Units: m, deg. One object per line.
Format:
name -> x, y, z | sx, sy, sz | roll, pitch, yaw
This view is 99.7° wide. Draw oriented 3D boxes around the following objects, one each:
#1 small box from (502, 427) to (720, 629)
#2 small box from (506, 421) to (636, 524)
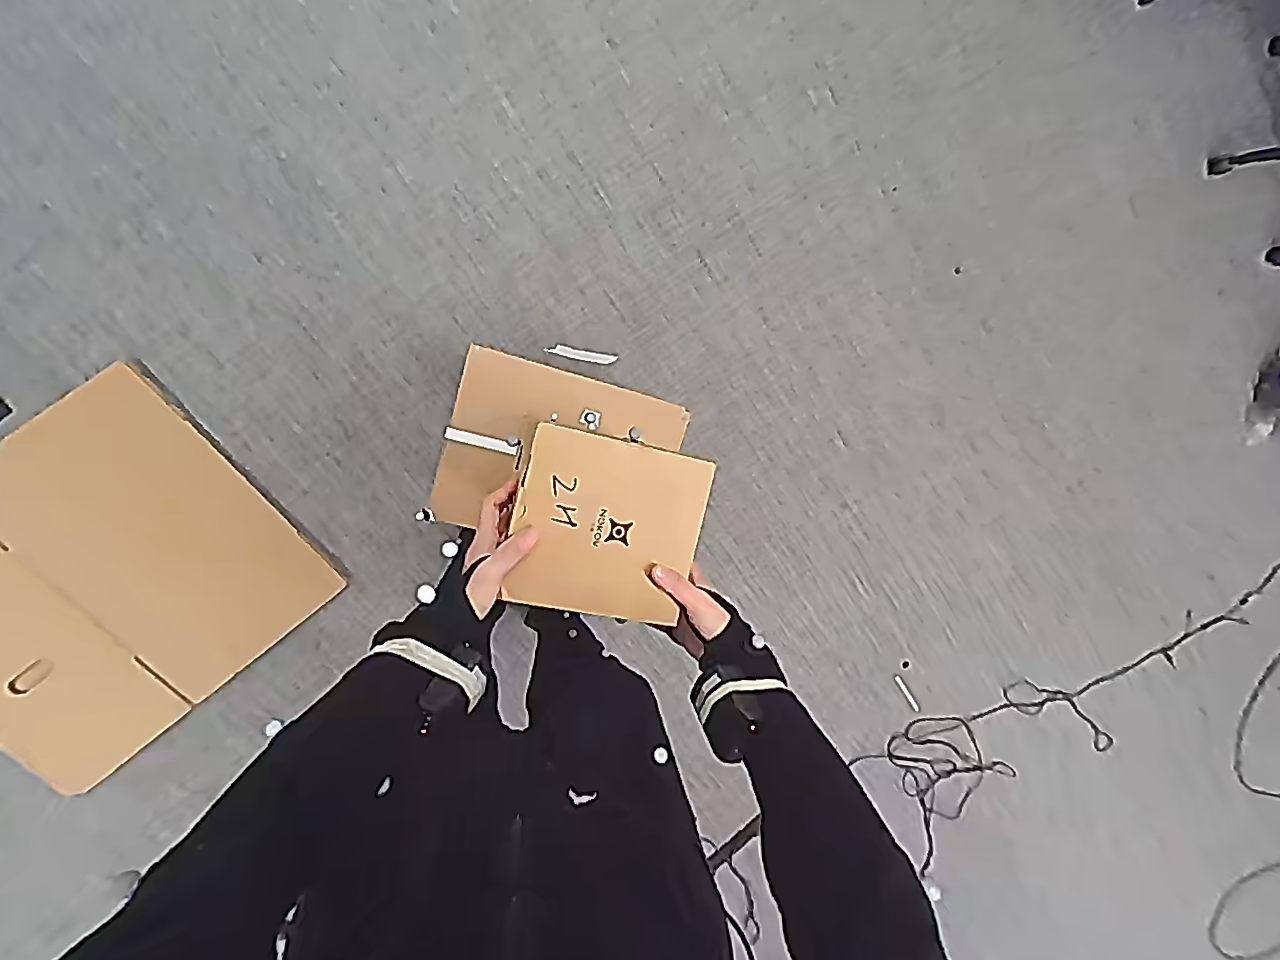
small box -> -0.042, 0.040, 0.575 | 0.179, 0.176, 0.168 | 13, 93, -15
small box -> -0.118, 0.002, 0.893 | 0.179, 0.176, 0.168 | 12, 94, -16
